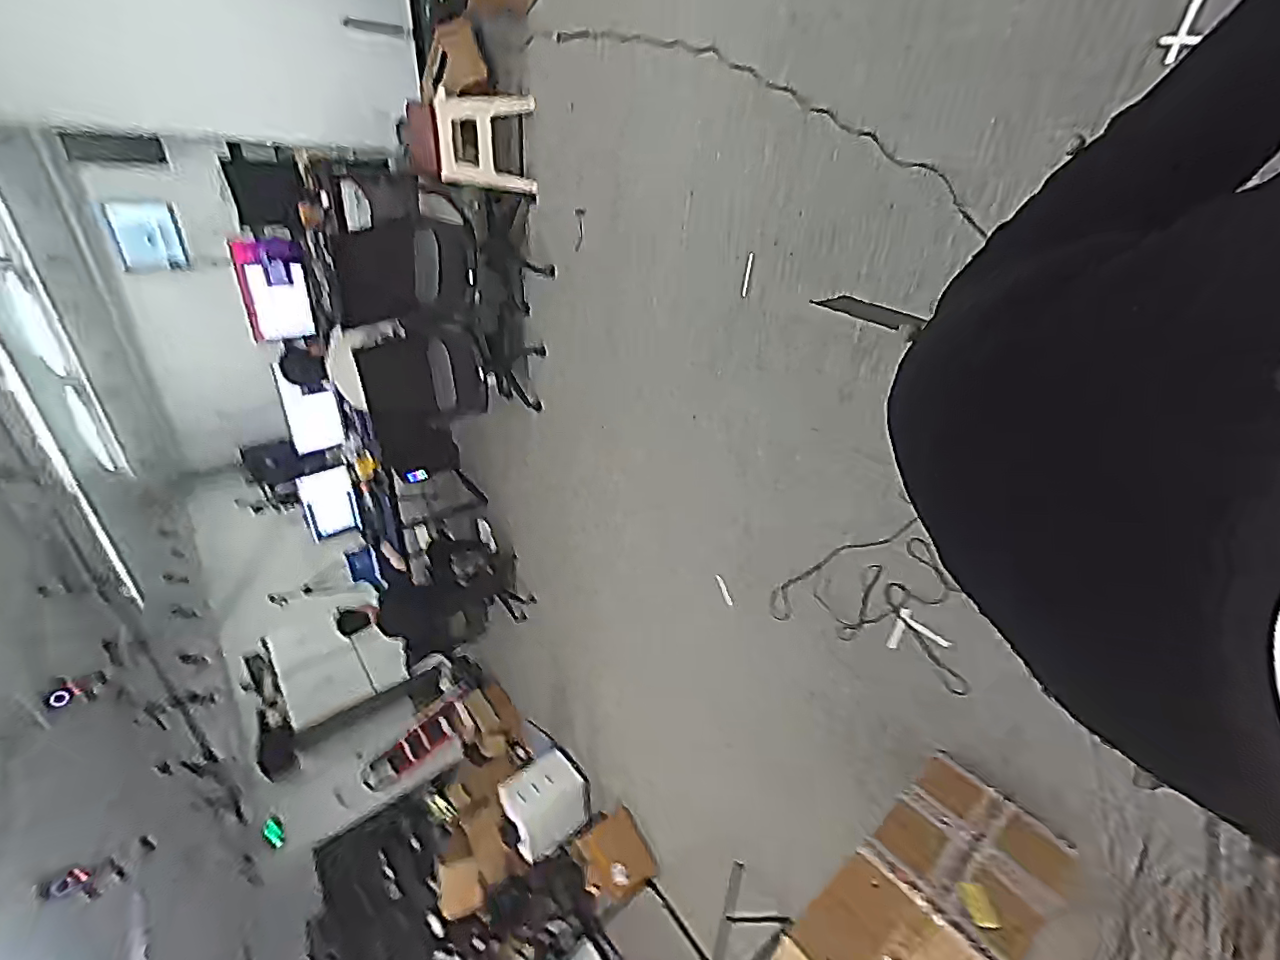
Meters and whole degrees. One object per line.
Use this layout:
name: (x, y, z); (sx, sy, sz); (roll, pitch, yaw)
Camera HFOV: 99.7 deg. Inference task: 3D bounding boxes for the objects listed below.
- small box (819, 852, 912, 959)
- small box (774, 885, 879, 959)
small box: (0.594, 1.151, 1.456); (0.179, 0.176, 0.168); (29, 125, 44)
small box: (0.467, 1.183, 1.355); (0.179, 0.176, 0.168); (29, 124, 44)
